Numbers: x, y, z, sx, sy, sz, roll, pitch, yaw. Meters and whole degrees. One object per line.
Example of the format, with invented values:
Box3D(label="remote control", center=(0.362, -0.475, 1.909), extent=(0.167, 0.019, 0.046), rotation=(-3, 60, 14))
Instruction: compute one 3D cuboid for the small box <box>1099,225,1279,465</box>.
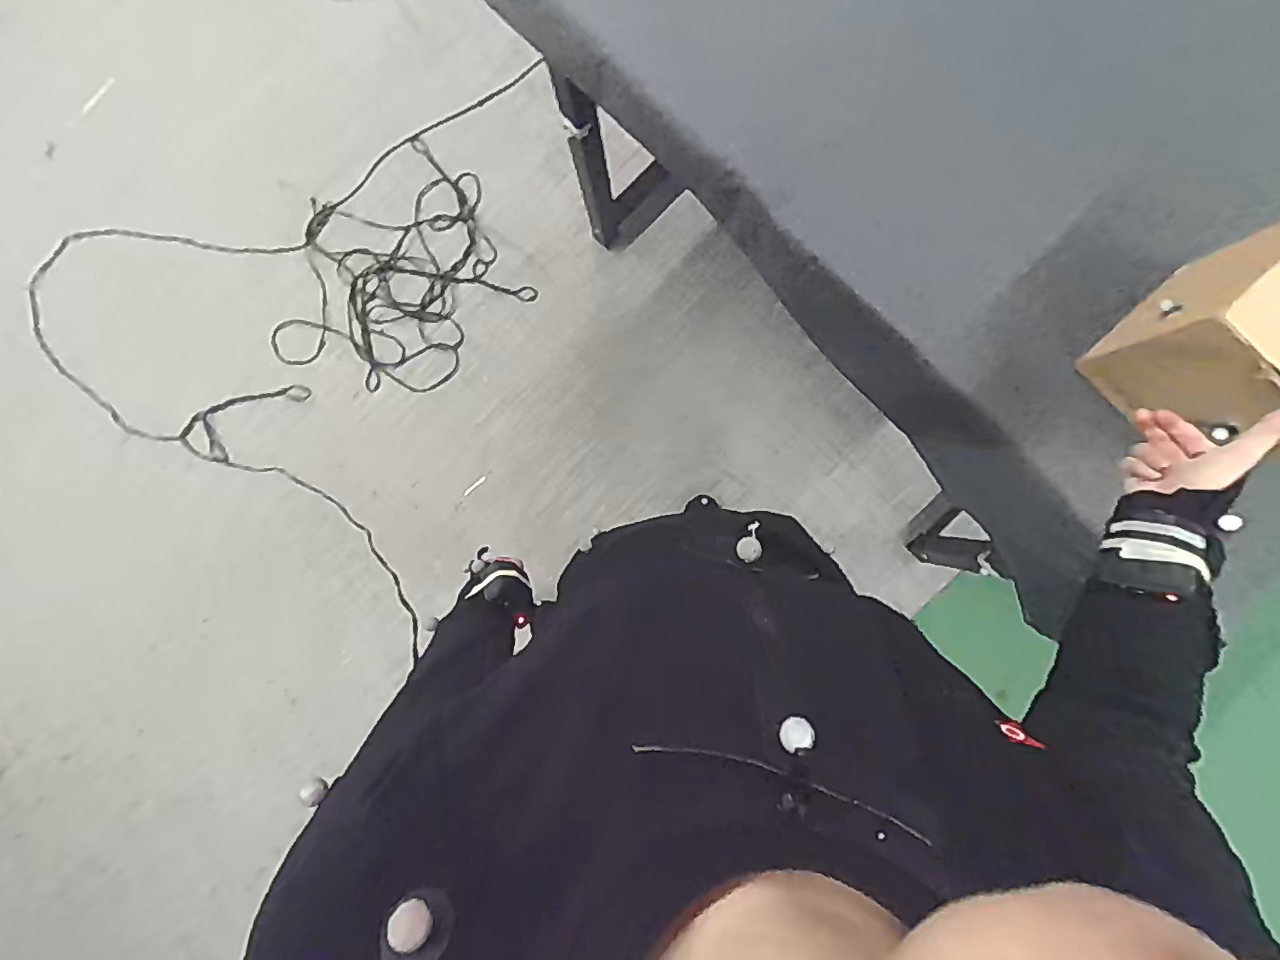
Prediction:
Box3D(label="small box", center=(0.613, -0.131, 0.528), extent=(0.179, 0.176, 0.168), rotation=(-43, 87, -2))
